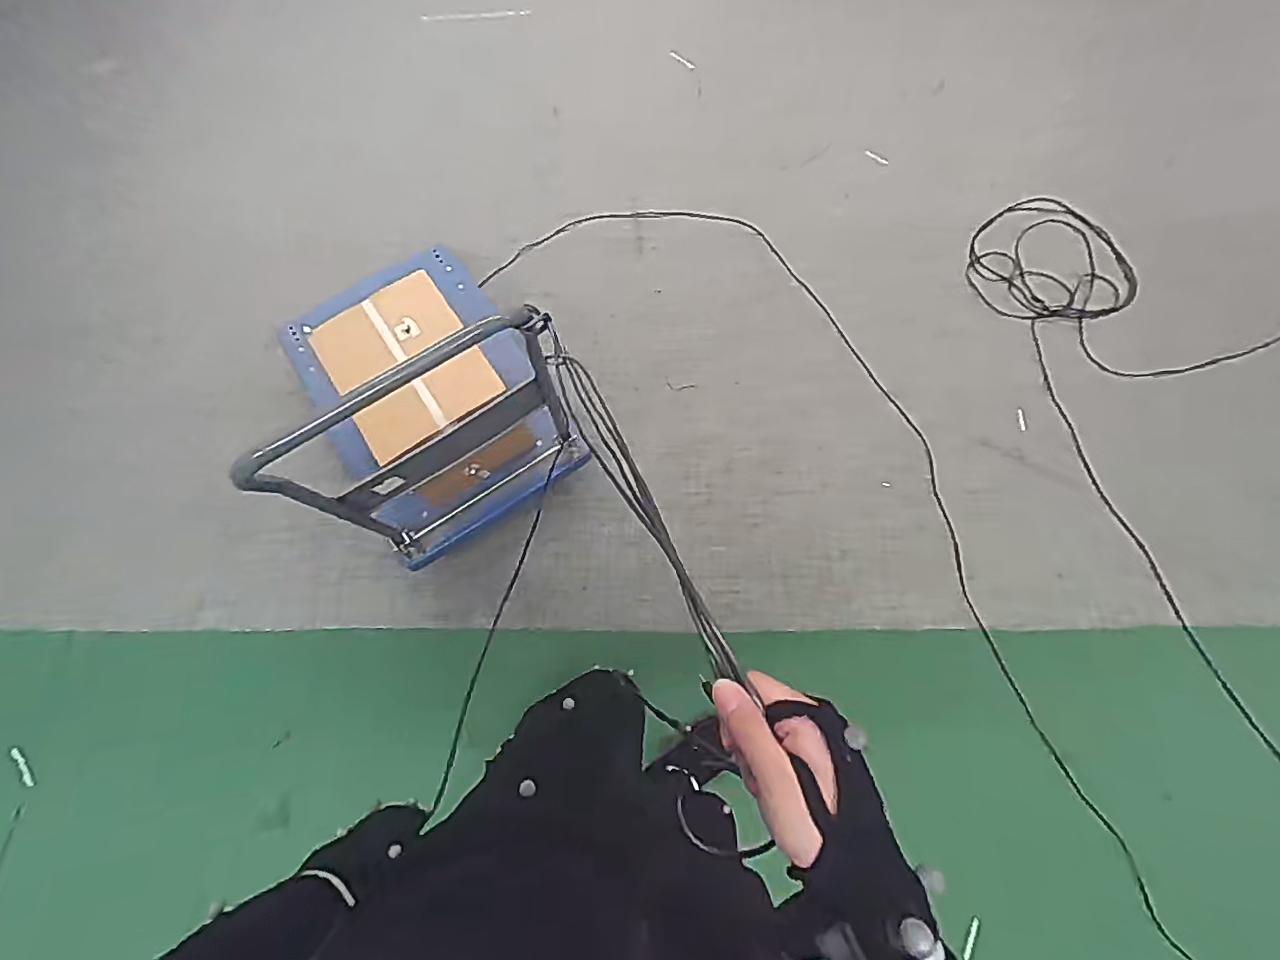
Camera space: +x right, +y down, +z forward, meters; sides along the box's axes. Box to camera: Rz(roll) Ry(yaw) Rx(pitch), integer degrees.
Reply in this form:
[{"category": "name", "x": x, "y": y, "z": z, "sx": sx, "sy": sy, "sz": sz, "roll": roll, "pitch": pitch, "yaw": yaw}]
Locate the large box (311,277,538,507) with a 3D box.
[{"category": "large box", "x": -0.515, "y": -0.206, "z": 1.354, "sx": 0.320, "sy": 0.320, "sz": 0.408, "roll": -34, "pitch": 72, "yaw": -10}]
